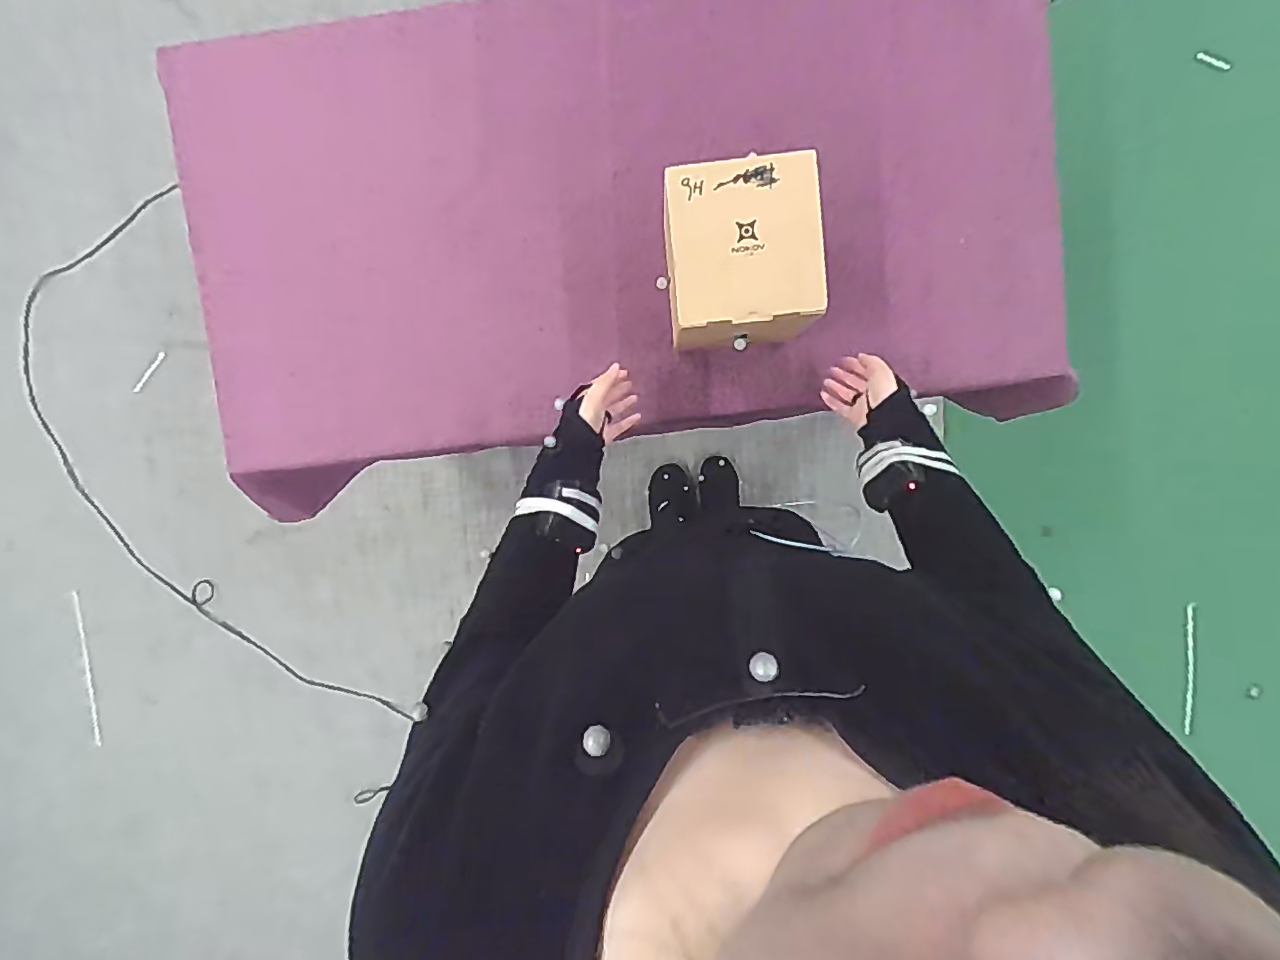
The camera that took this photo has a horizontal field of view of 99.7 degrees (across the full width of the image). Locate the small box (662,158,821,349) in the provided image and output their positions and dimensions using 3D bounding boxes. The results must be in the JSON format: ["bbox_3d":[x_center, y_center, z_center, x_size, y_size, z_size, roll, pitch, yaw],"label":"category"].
[{"bbox_3d":[0.116,-0.263,0.673,0.168,0.176,0.179,-5,95,2],"label":"small box"}]
